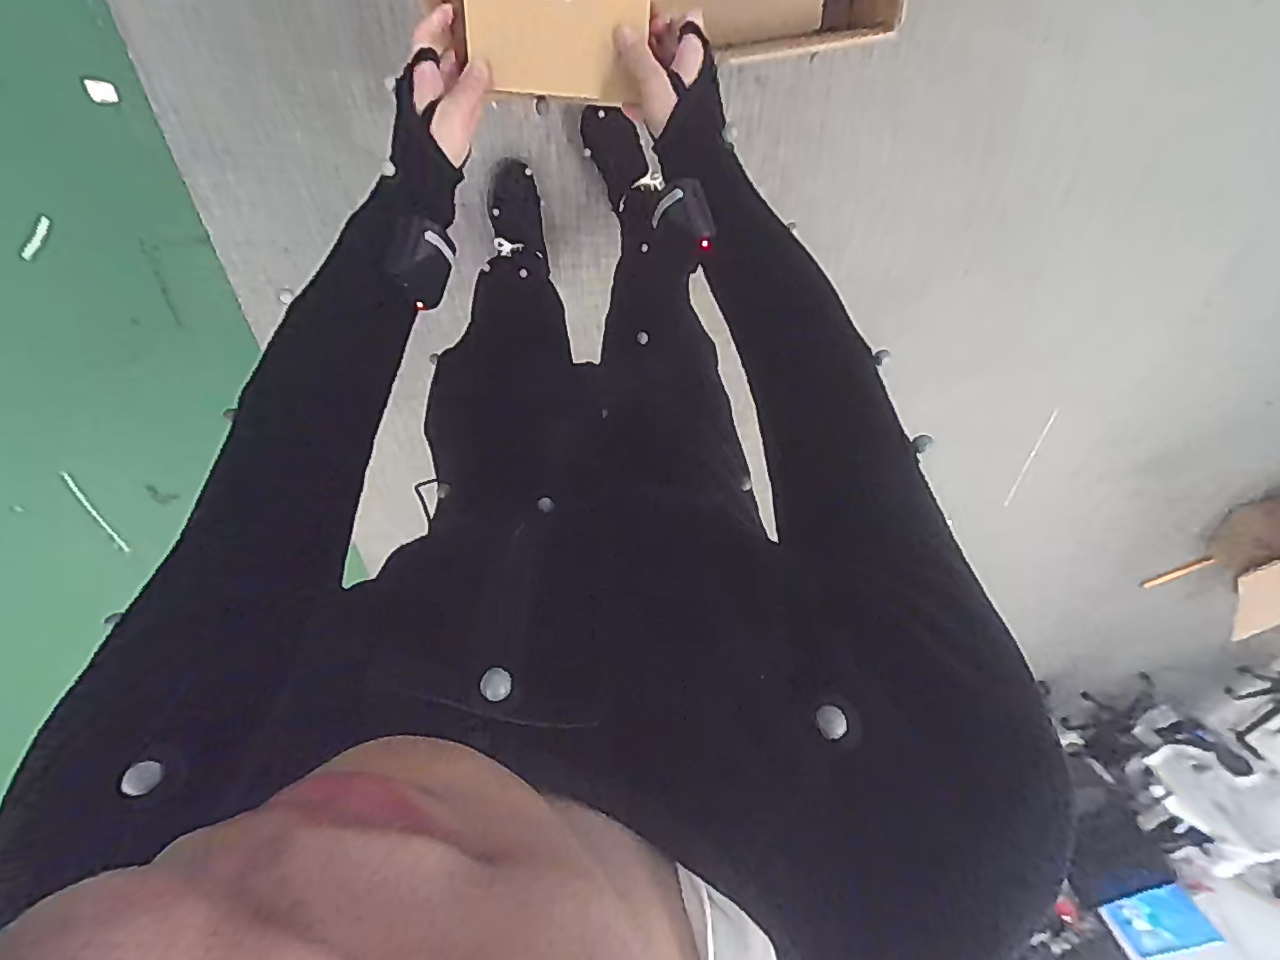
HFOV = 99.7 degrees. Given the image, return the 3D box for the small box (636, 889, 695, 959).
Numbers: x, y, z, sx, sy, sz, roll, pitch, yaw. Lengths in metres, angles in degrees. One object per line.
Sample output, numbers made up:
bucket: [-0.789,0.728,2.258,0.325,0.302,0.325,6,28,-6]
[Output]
small box: [0.081,1.510,1.829,0.168,0.176,0.179,-7,131,-7]

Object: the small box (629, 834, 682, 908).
small box: [0.052,1.415,1.959,0.168,0.176,0.179,-7,129,-7]

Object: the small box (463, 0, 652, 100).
small box: [-0.072,-0.478,0.519,0.168,0.176,0.179,1,122,-5]
